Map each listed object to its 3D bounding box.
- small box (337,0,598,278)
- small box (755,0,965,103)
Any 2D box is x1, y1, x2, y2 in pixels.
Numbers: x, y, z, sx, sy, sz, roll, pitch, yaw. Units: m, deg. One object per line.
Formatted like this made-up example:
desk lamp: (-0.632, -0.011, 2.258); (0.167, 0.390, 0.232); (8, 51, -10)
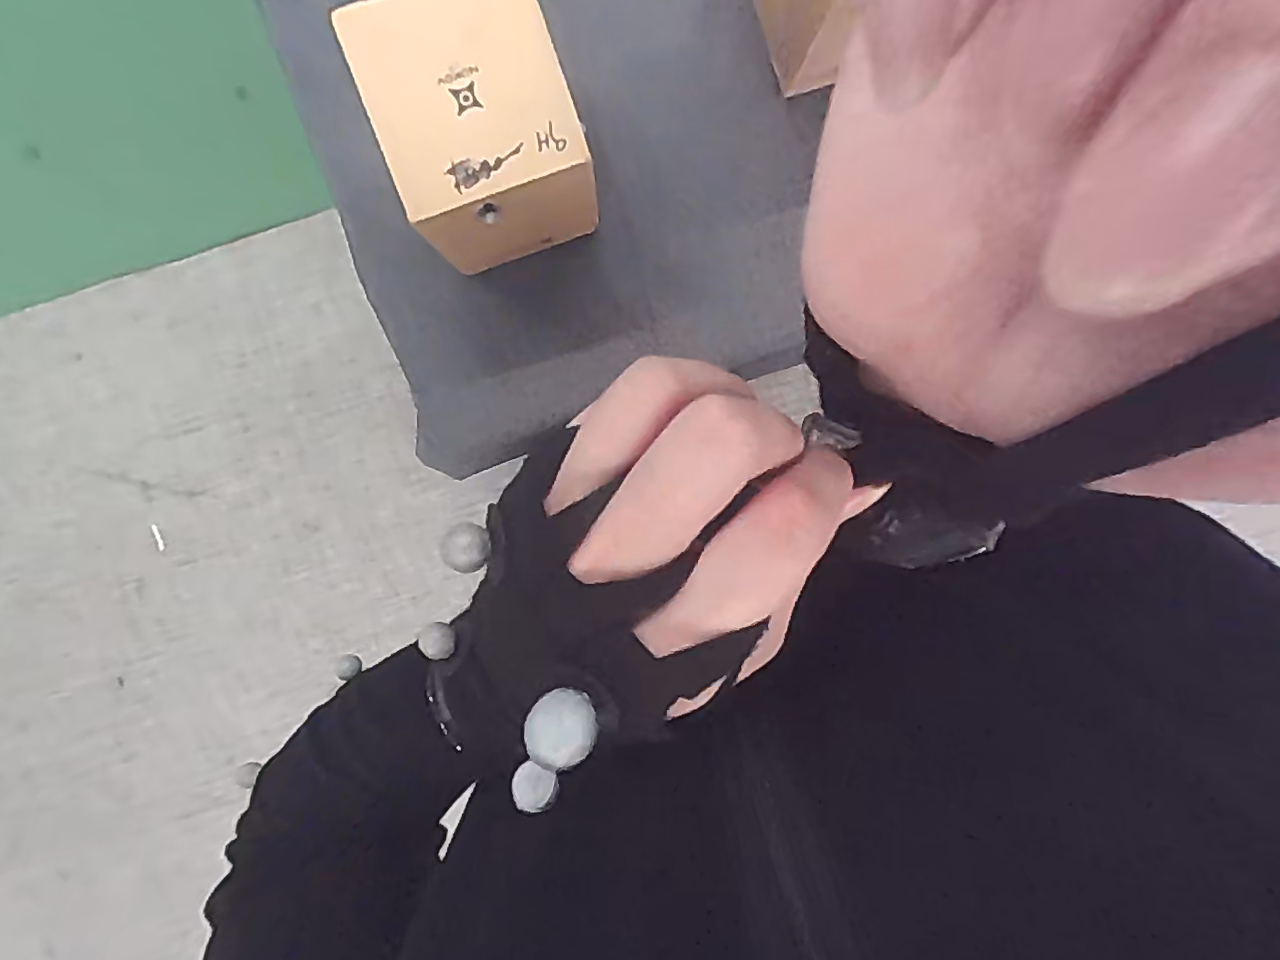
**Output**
small box: (-0.146, -0.326, 0.526); (0.168, 0.176, 0.179); (-20, 96, 0)
small box: (0.213, -0.519, 0.521); (0.168, 0.176, 0.179); (-20, 98, 1)
